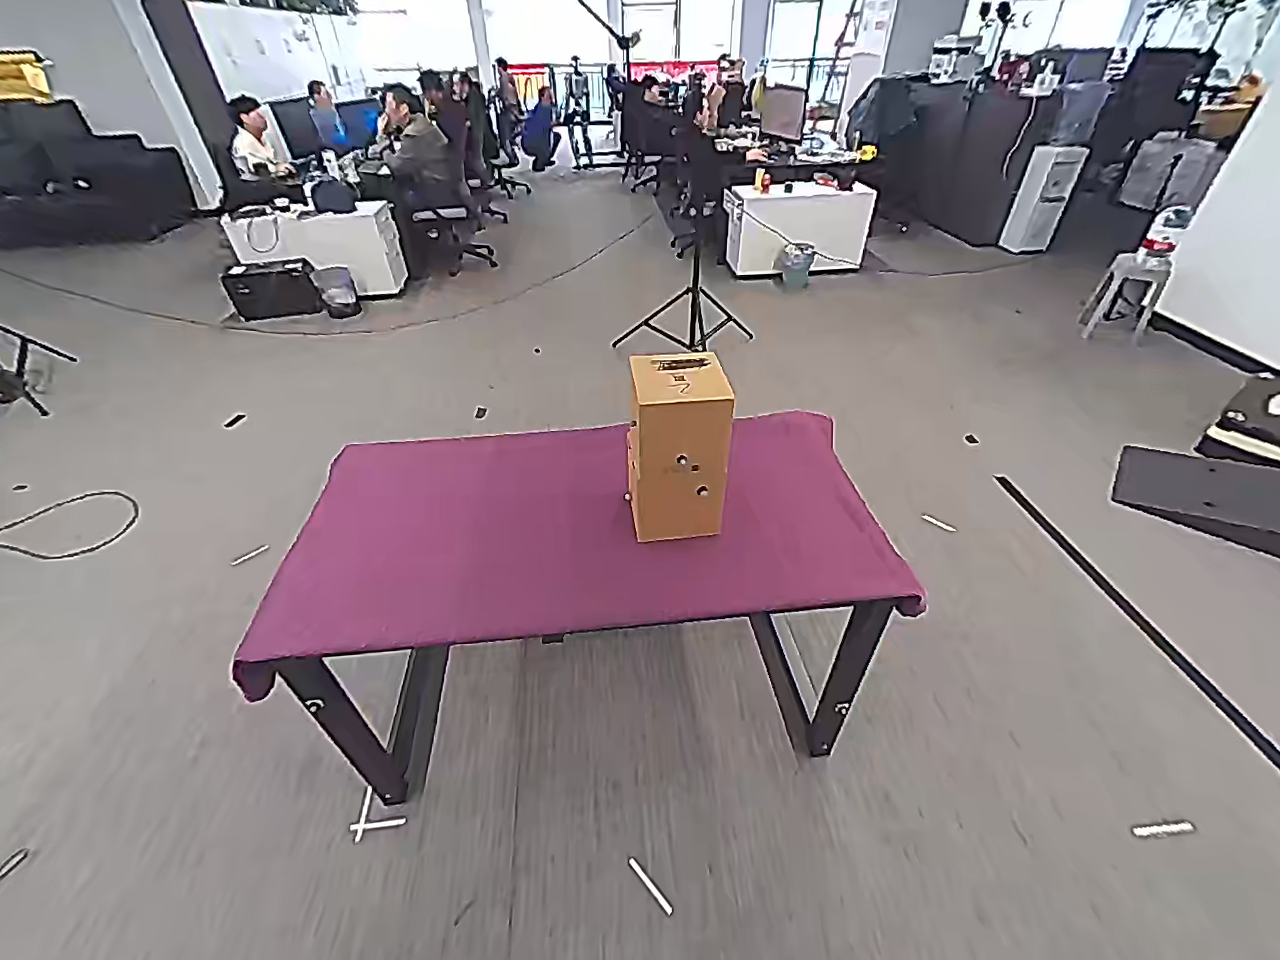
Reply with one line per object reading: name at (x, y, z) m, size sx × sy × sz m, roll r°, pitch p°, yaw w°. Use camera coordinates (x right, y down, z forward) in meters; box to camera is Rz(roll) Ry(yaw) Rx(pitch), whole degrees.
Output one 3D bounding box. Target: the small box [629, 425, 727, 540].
small box at (0.072, 0.006, 1.123) m, size 0.179 × 0.176 × 0.168 m, roll -6°, pitch 39°, yaw -4°
